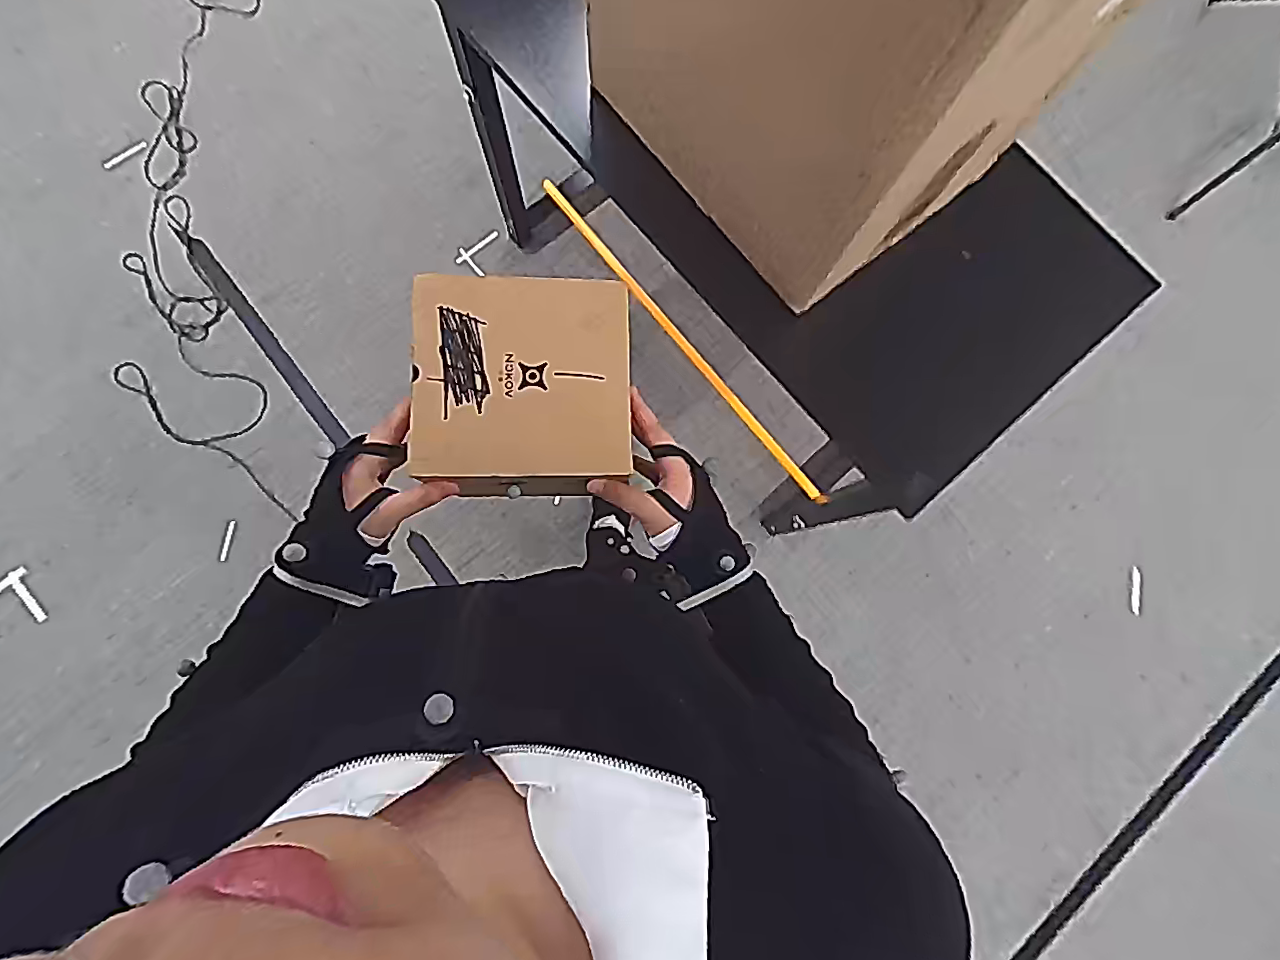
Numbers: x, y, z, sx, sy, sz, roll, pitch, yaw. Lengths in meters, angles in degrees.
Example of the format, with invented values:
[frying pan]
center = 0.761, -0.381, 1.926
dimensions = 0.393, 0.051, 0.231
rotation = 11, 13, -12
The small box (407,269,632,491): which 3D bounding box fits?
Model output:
[small box]
center = -0.100, -0.079, 0.509
dimensions = 0.179, 0.176, 0.168
rotation = -1, 84, -6
